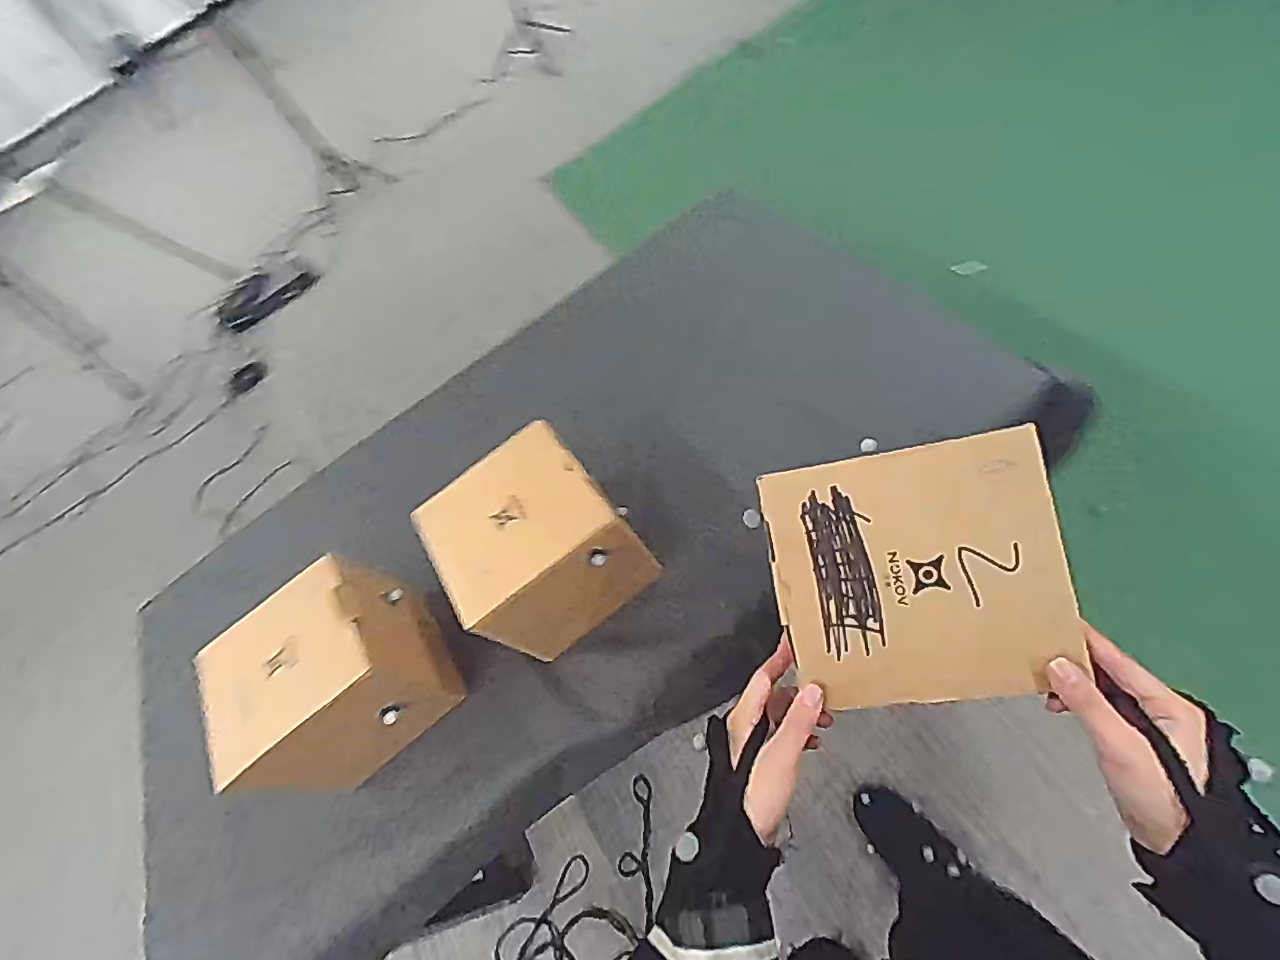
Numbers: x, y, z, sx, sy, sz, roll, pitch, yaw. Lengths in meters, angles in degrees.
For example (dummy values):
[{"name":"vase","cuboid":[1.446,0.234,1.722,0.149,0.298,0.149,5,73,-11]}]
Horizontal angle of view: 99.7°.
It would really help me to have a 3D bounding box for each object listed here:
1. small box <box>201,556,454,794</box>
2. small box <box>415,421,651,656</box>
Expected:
[{"name":"small box","cuboid":[-0.340,0.223,0.615,0.179,0.176,0.168,-41,55,-4]},{"name":"small box","cuboid":[-0.114,0.075,0.619,0.179,0.176,0.168,-38,56,-4]}]
